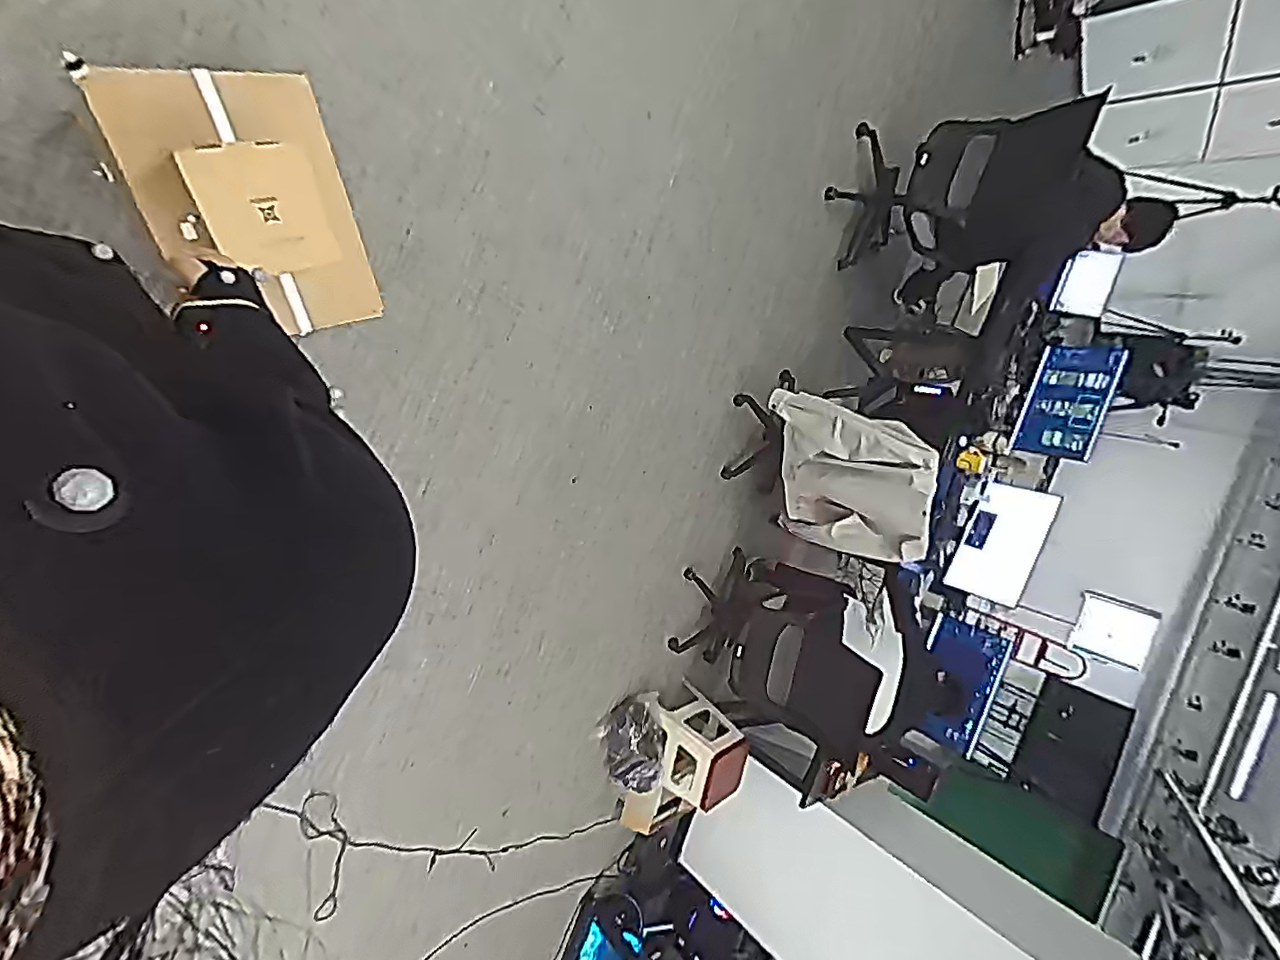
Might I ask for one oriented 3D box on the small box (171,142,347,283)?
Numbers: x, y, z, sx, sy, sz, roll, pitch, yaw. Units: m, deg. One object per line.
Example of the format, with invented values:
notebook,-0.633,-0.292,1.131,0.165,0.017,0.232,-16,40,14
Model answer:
small box,-0.608,-0.423,0.865,0.168,0.176,0.179,-30,126,-33
